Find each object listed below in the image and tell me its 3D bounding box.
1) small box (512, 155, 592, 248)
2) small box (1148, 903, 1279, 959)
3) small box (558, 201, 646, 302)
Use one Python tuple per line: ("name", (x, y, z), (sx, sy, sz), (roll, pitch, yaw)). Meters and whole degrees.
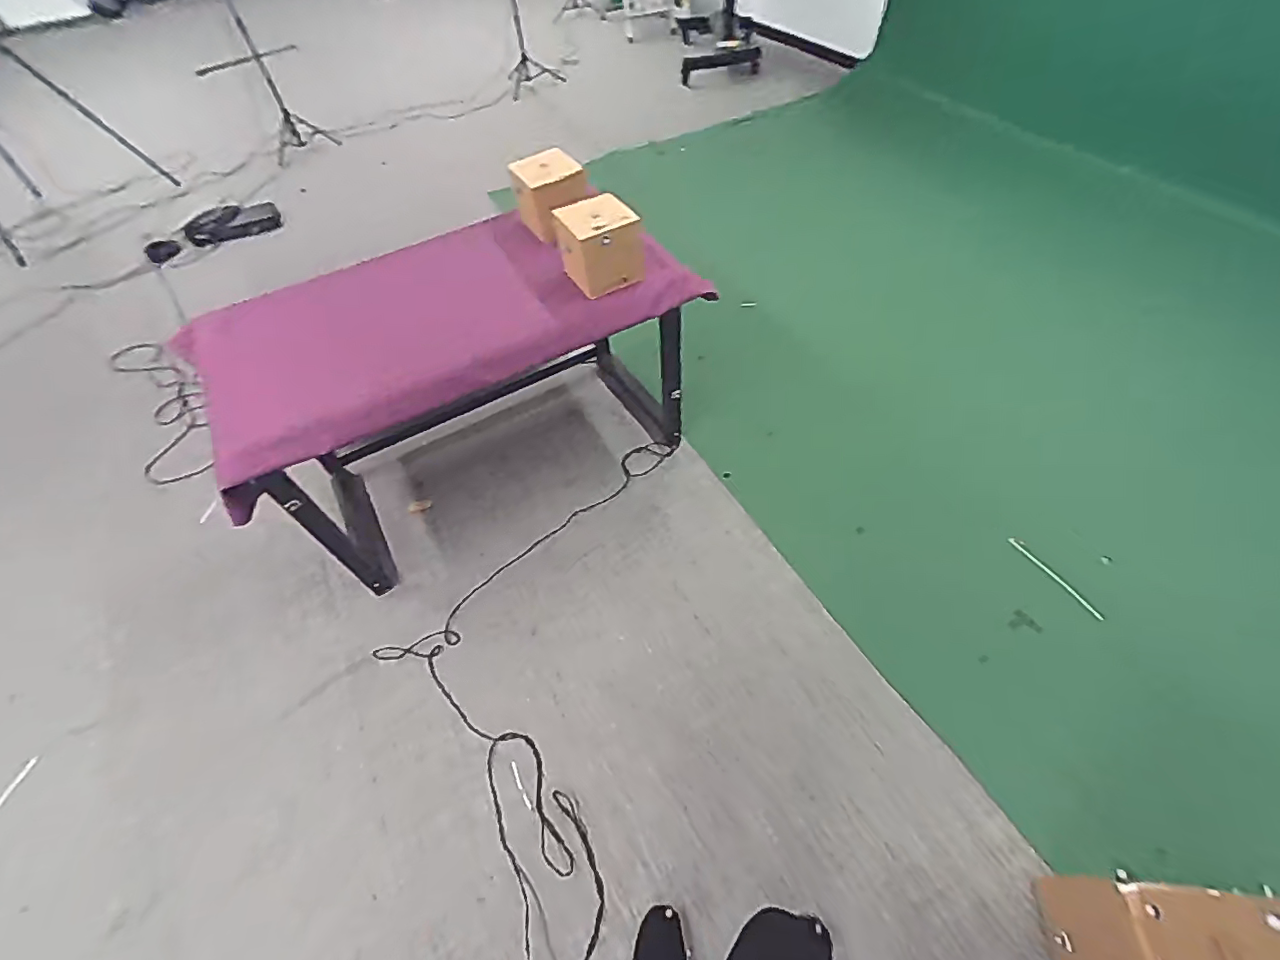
("small box", (-0.250, -0.816, 1.589), (0.168, 0.176, 0.179), (-28, 57, -13))
("small box", (0.958, 0.781, 0.846), (0.179, 0.176, 0.168), (6, 55, 8))
("small box", (-0.097, -0.596, 1.416), (0.168, 0.176, 0.179), (-26, 54, -13))
